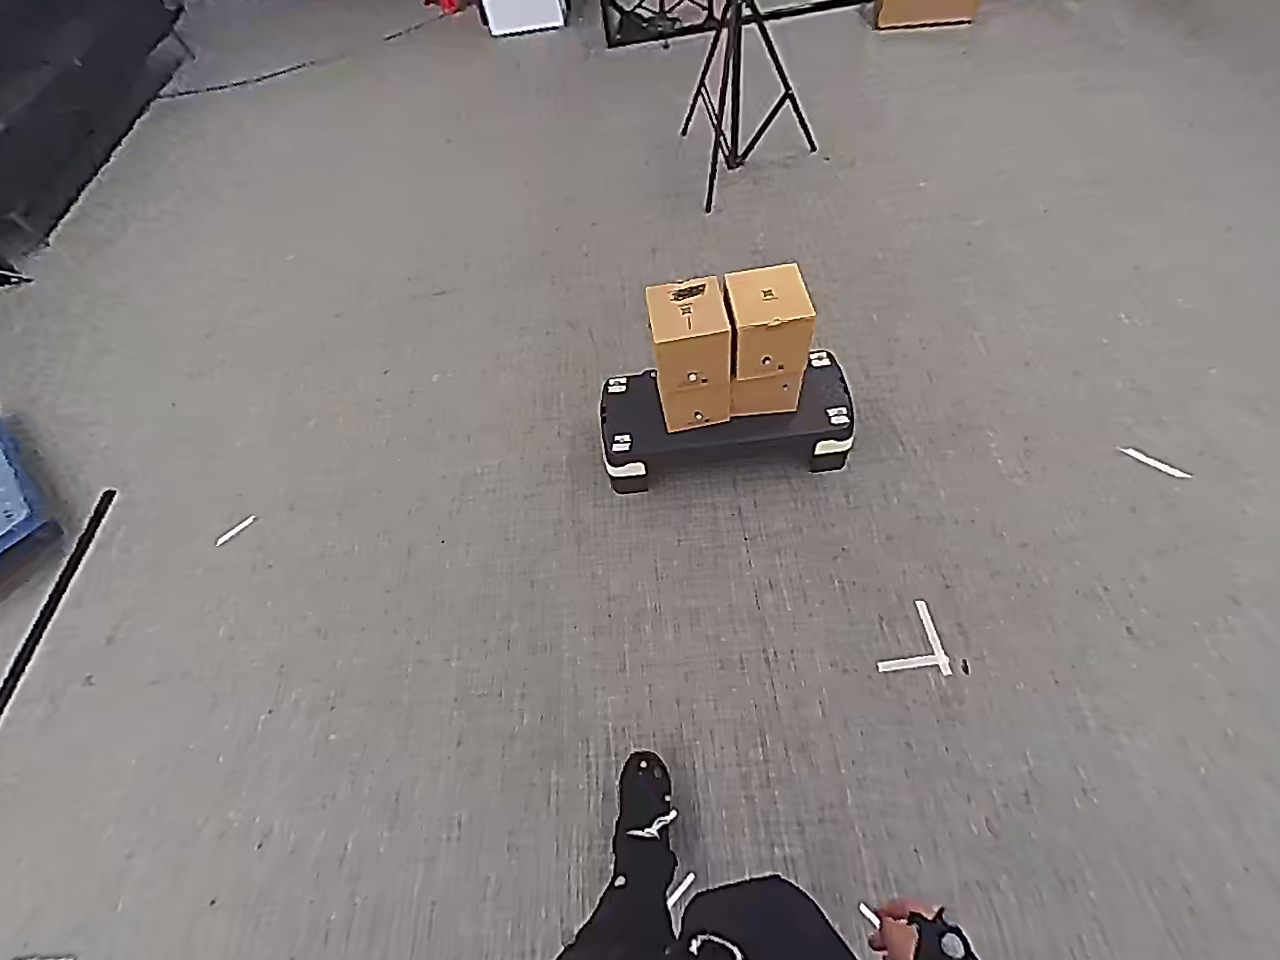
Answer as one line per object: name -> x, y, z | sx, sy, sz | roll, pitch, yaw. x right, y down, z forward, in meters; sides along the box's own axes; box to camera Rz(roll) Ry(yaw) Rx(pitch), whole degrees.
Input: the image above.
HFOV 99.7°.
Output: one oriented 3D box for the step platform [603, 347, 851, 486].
step platform -> 0.236, -0.182, 1.547 | 0.684, 0.204, 0.286 | -8, 58, 4
